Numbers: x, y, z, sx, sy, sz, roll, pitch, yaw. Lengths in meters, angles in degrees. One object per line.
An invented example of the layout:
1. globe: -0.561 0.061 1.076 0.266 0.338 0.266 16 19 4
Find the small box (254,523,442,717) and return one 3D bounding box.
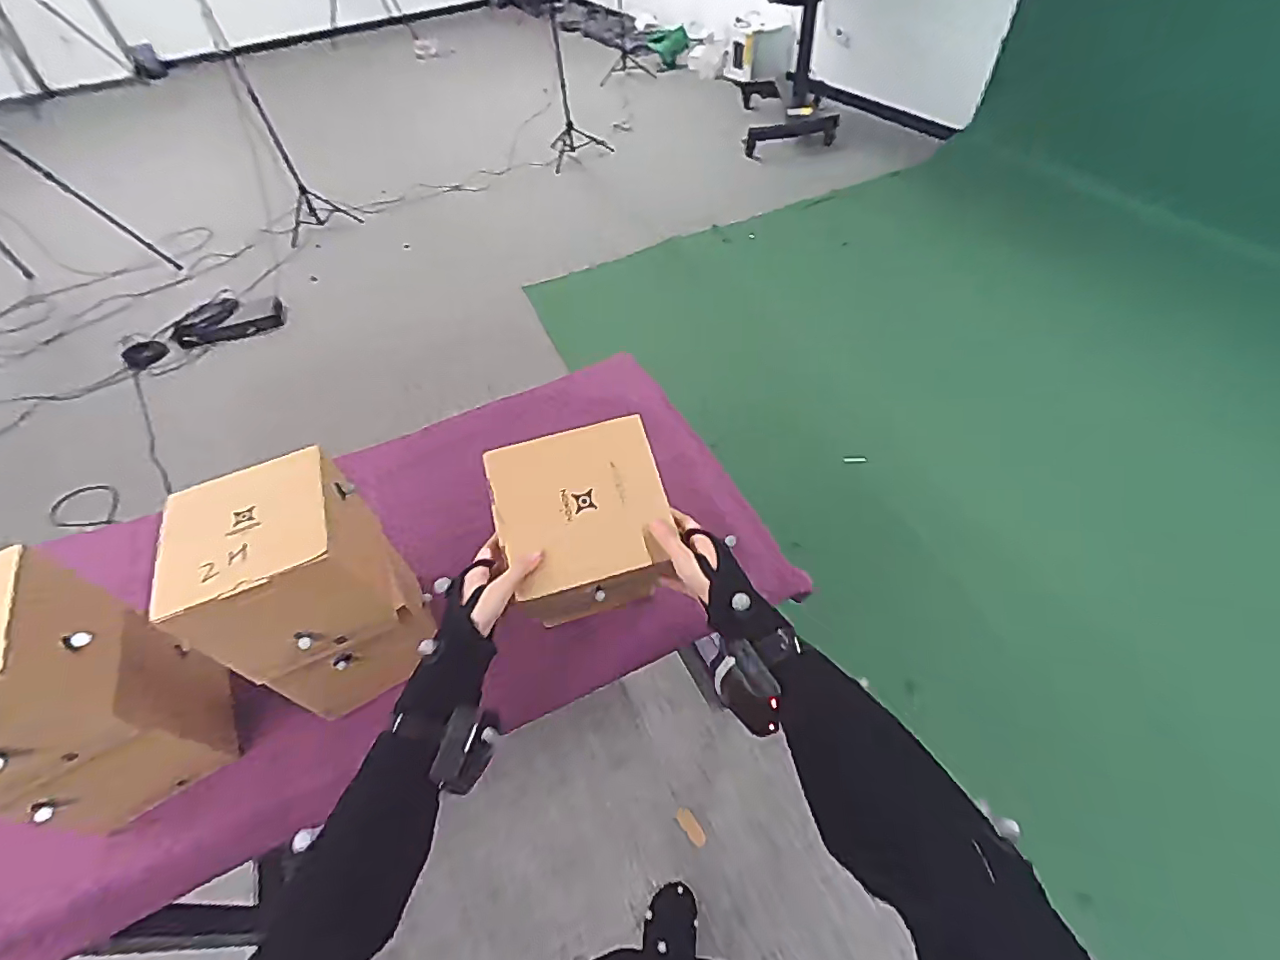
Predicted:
1. small box: -0.410 0.200 0.761 0.179 0.176 0.168 -28 53 -18

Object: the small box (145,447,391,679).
1. small box: -0.415 0.098 0.632 0.168 0.176 0.179 -22 52 -13

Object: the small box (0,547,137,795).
1. small box: -0.674 0.210 0.561 0.168 0.176 0.179 -29 54 -18

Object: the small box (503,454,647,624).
1. small box: -0.093 0.092 0.819 0.179 0.176 0.168 -16 49 -6
